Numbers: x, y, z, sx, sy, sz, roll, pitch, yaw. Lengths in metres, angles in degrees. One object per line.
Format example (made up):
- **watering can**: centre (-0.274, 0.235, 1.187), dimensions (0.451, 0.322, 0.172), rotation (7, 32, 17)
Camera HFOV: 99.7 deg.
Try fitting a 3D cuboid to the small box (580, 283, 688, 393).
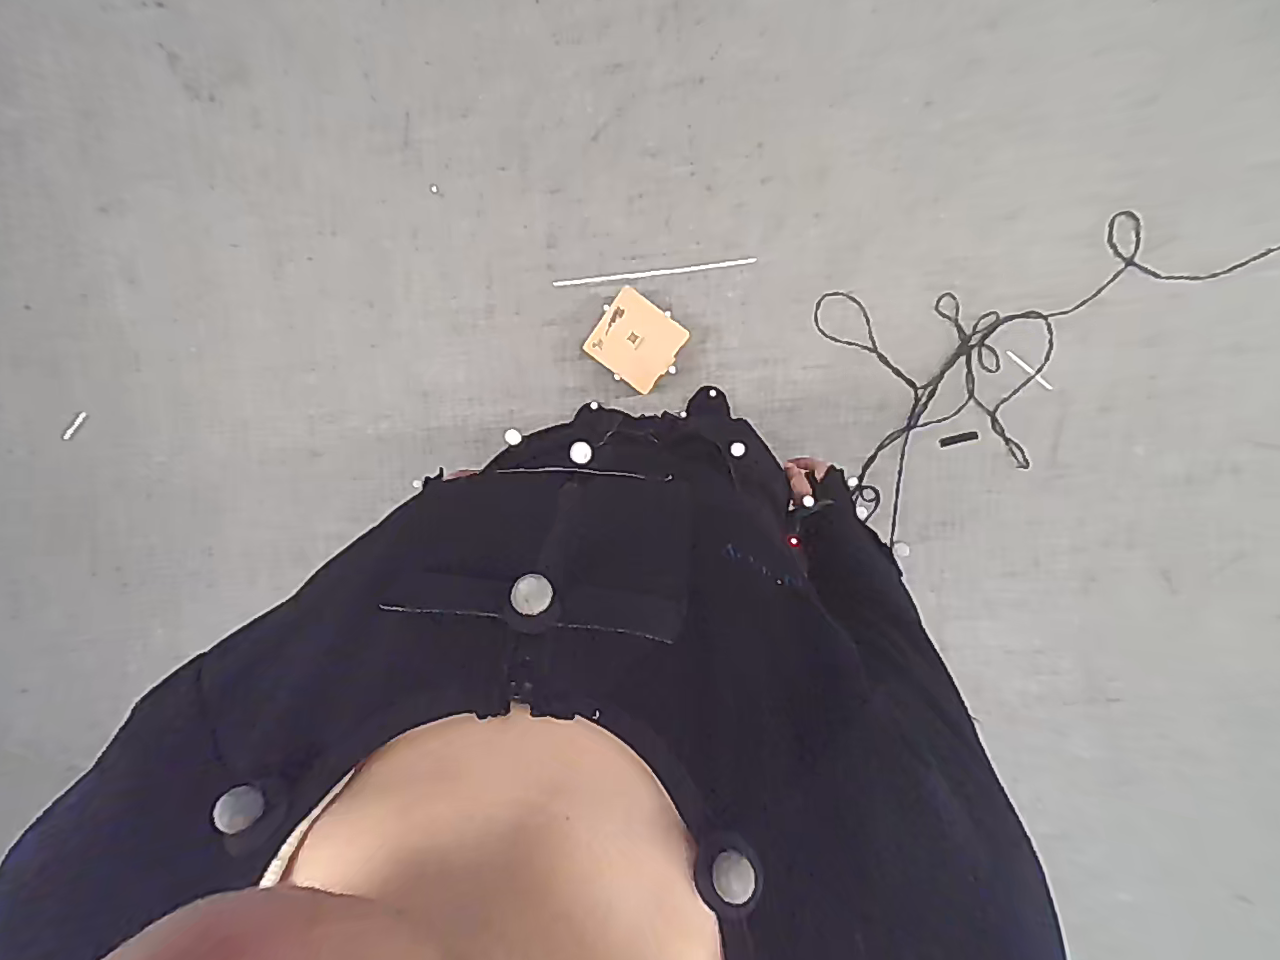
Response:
- **small box**: centre (-0.009, -0.317, 1.224), dimensions (0.179, 0.176, 0.168), rotation (36, 101, -5)
